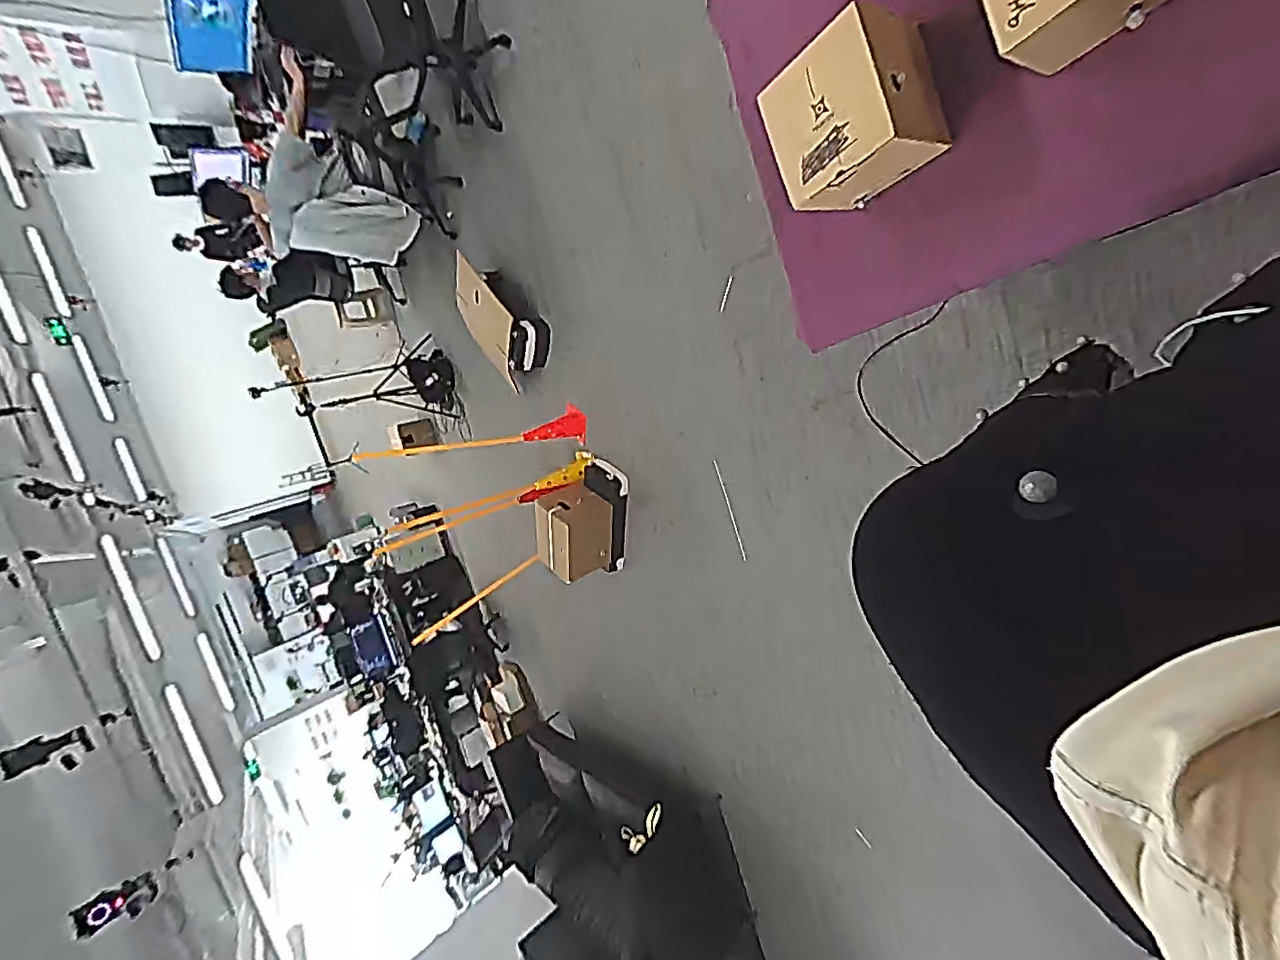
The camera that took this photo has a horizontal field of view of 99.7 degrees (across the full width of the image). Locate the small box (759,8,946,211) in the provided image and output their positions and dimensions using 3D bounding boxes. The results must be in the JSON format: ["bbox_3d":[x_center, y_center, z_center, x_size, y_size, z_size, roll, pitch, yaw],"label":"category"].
[{"bbox_3d":[0.308,-0.517,0.781,0.168,0.176,0.179,-16,94,54],"label":"small box"}]

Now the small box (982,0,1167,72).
[{"bbox_3d":[0.466,-0.565,0.551,0.179,0.176,0.168,-16,94,54],"label":"small box"}]
